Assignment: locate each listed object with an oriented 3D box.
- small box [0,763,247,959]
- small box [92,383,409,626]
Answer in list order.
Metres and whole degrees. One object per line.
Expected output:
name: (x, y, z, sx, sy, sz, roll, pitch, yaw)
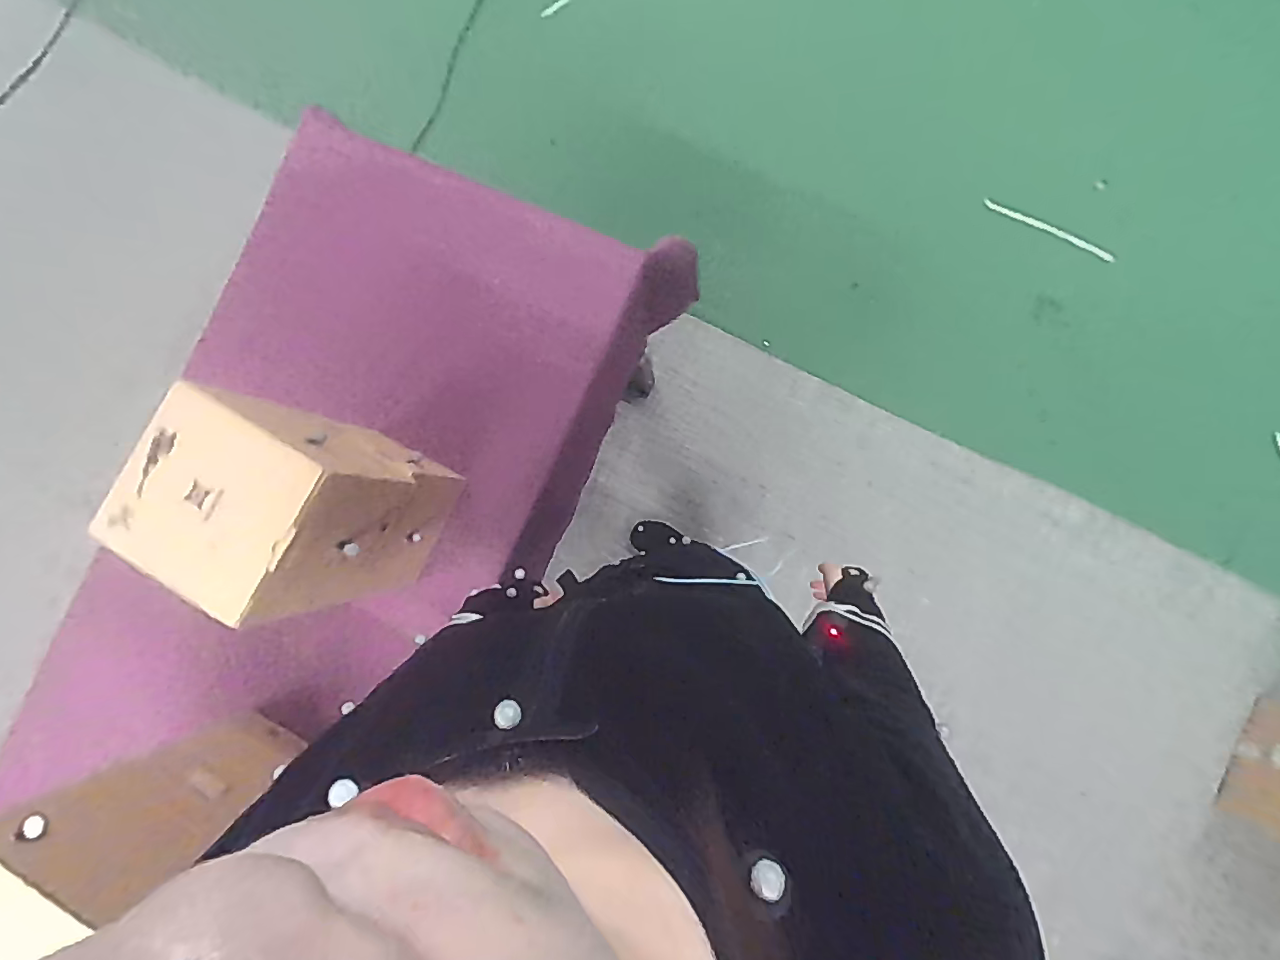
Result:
small box: (-0.563, 0.431, 0.555, 0.179, 0.176, 0.168, 26, 88, 7)
small box: (-0.385, 0.024, 0.571, 0.179, 0.176, 0.168, 30, 89, 5)
